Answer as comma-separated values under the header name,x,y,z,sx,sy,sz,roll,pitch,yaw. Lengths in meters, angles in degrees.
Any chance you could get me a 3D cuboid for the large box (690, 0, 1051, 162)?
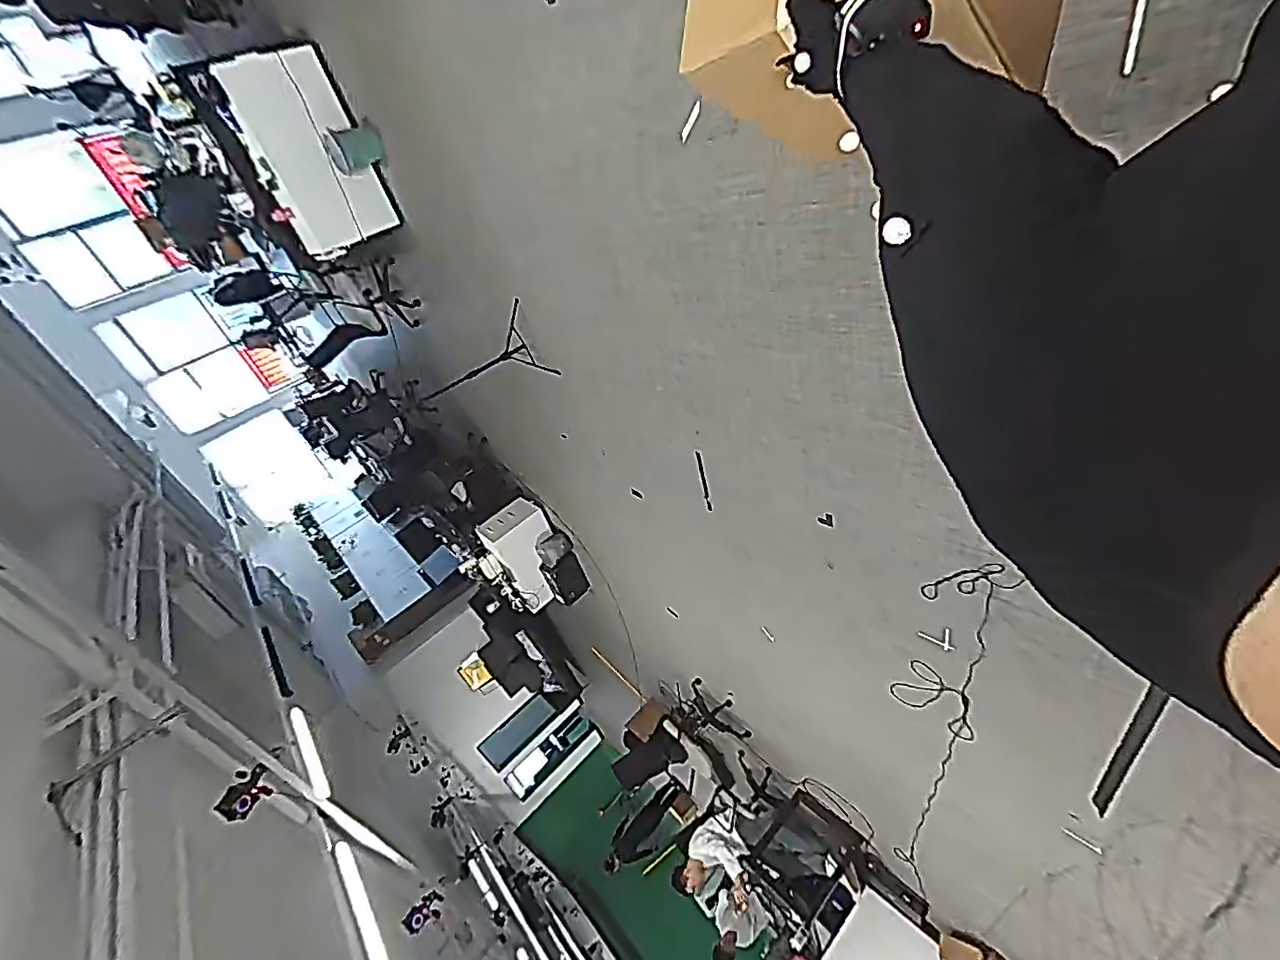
name,x,y,z,sx,sy,sz,roll,pitch,yaw
large box,0.292,-0.676,0.643,0.320,0.320,0.408,17,105,47
